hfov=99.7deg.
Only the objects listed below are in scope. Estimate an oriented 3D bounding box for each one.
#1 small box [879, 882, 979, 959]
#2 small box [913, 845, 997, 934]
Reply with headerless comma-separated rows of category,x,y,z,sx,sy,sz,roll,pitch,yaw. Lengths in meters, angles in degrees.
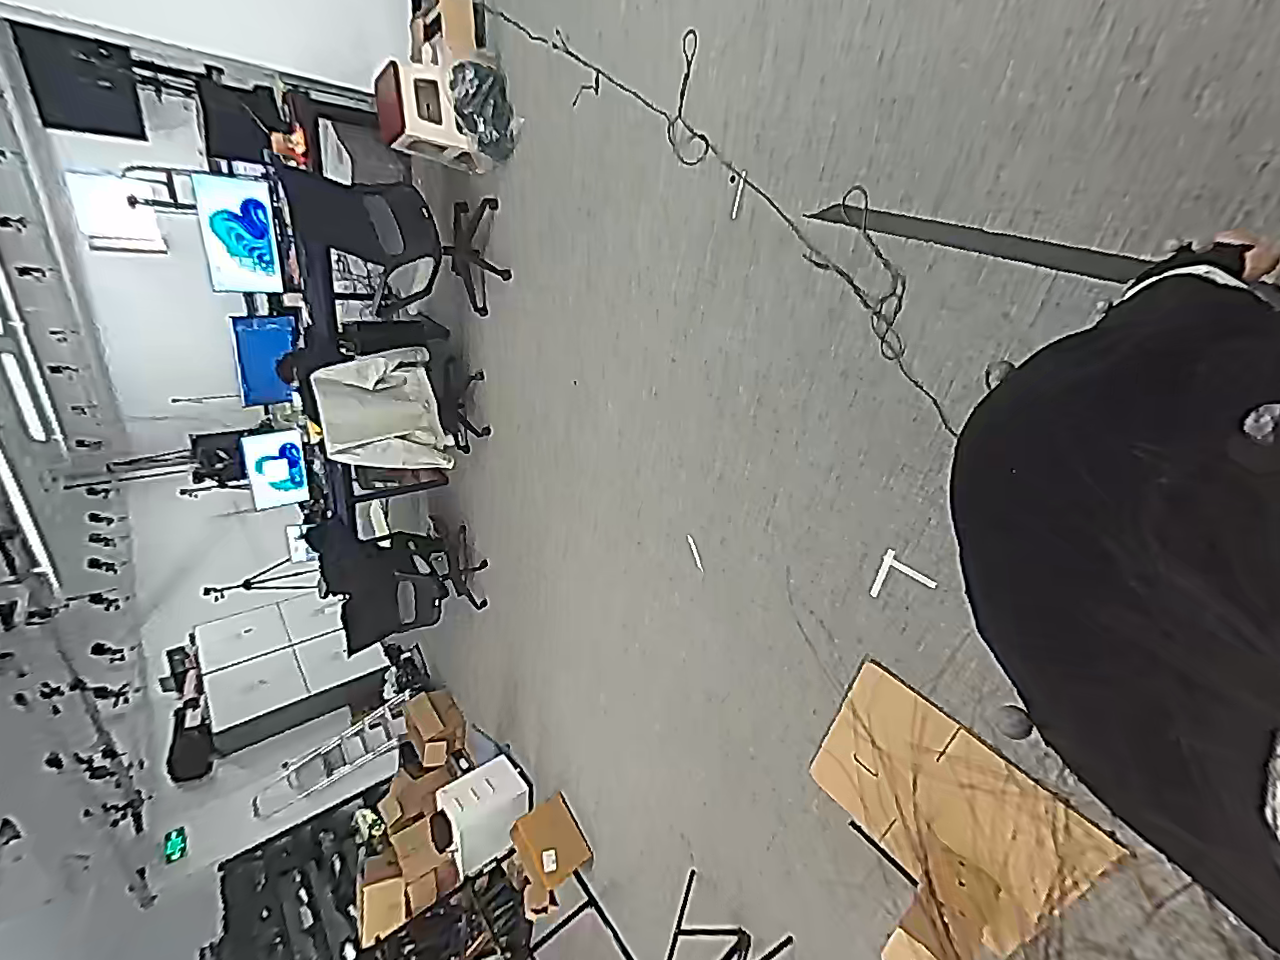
small box,0.784,1.257,1.465,0.168,0.176,0.179,30,123,40
small box,0.905,1.220,1.570,0.168,0.176,0.179,29,122,42
